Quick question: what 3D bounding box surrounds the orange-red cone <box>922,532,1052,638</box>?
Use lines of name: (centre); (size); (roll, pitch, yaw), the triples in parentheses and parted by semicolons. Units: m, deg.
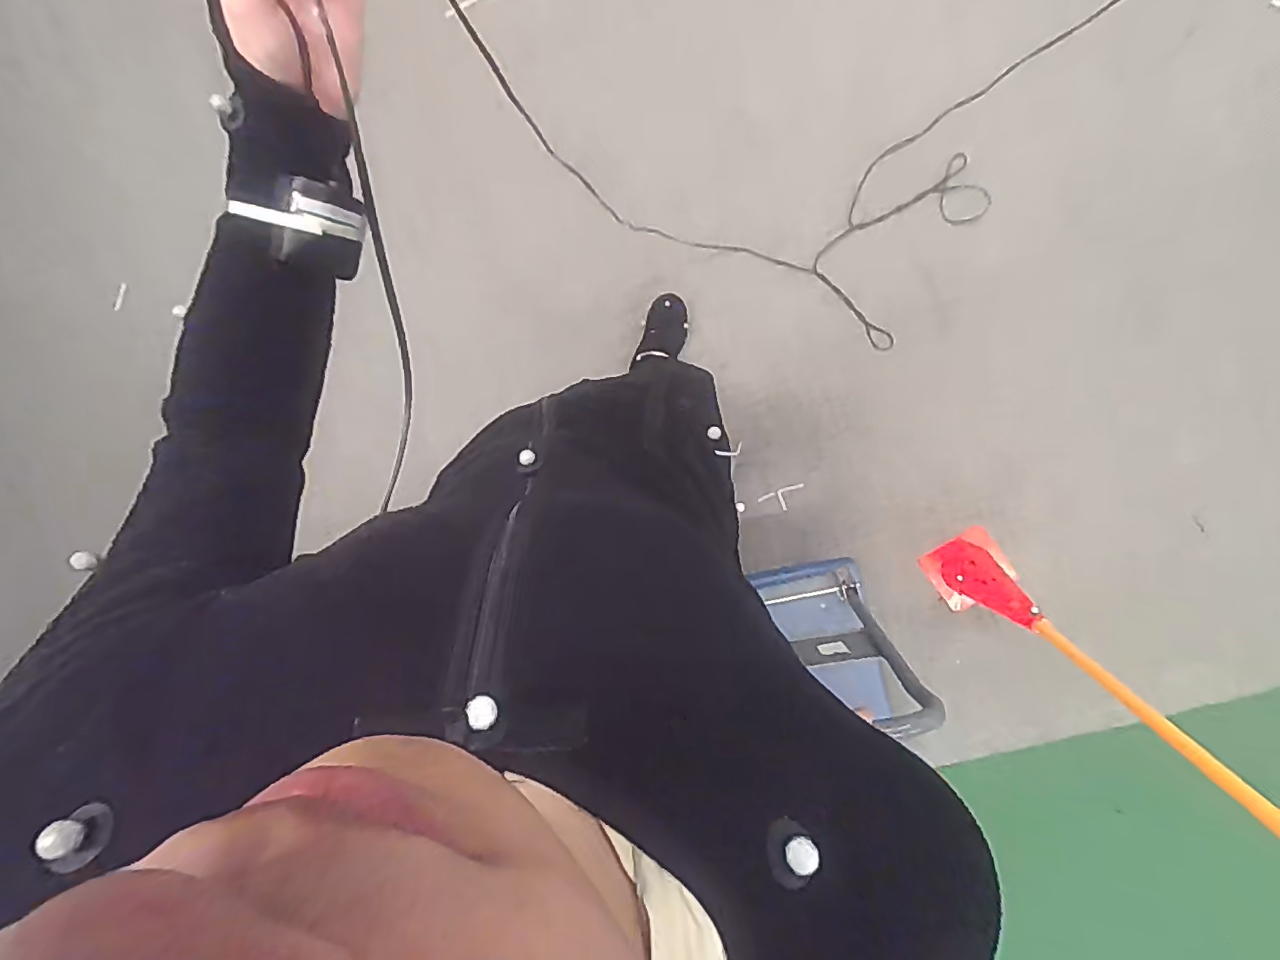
orange-red cone: (0.909, 0.297, 1.361); (0.199, 0.360, 0.198); (-35, 96, 11)
